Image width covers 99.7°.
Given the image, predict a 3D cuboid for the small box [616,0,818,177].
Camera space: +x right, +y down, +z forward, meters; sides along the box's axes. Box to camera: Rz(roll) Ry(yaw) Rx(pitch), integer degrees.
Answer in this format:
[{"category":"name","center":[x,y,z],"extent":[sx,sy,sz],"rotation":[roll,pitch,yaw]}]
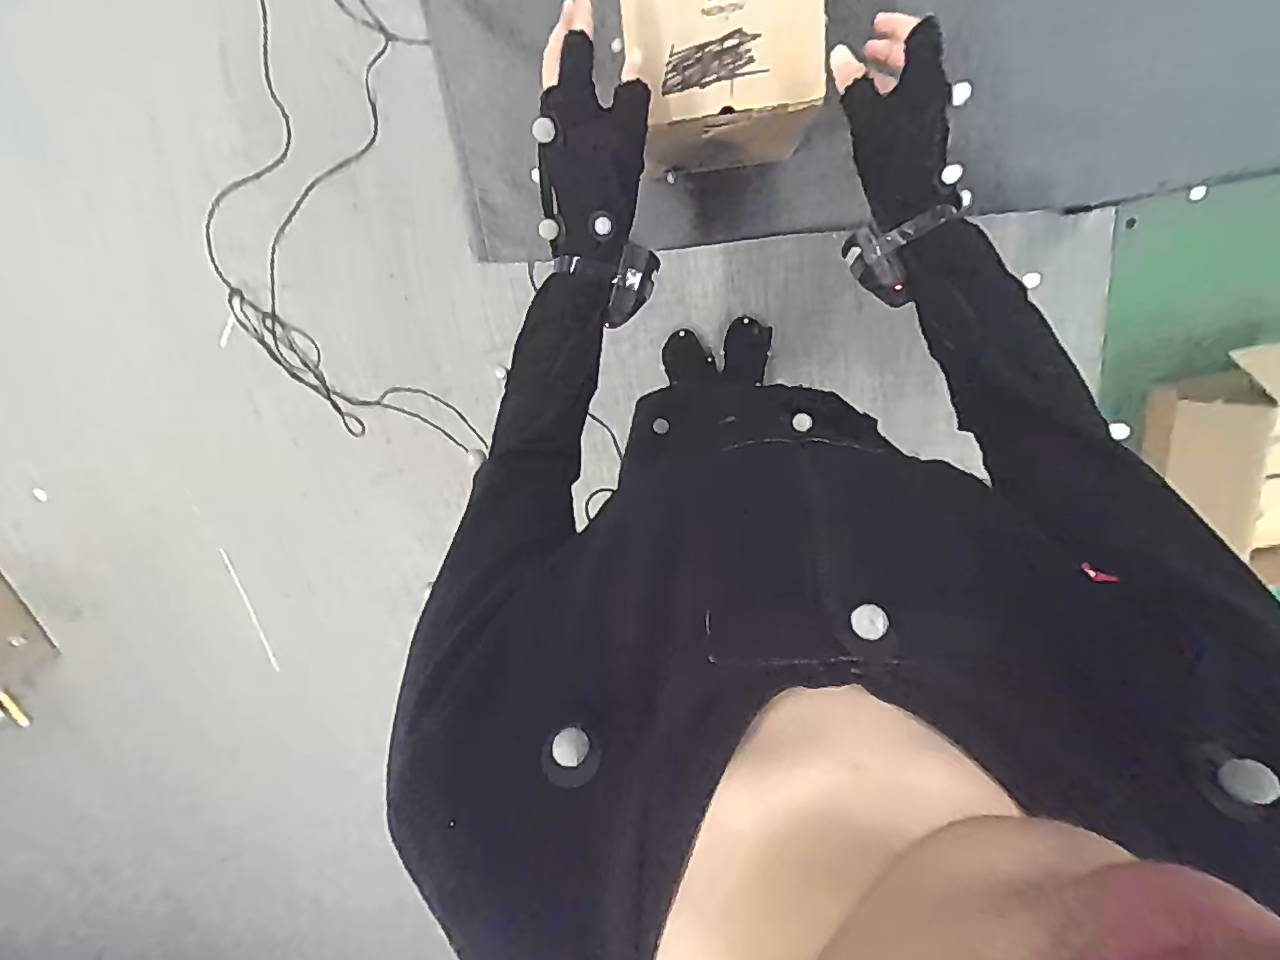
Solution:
[{"category":"small box","center":[0.069,-0.411,0.521],"extent":[0.168,0.176,0.179],"rotation":[-5,105,5]}]
